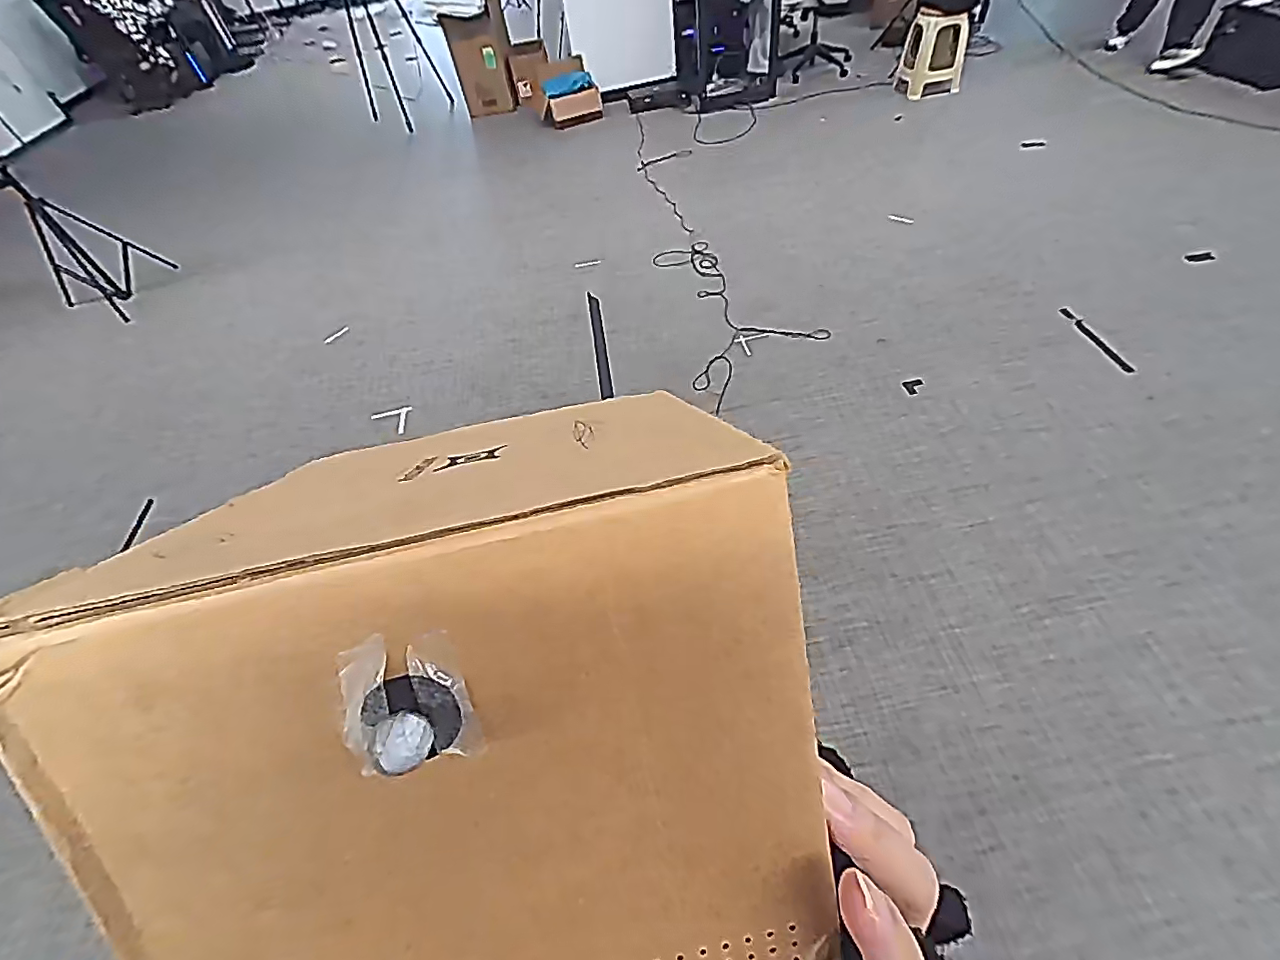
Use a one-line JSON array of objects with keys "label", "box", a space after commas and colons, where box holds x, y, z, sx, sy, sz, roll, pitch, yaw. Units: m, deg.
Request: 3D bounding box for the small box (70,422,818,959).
[{"label": "small box", "box": [-0.045, 0.083, 0.227, 0.179, 0.176, 0.168, -12, 15, -4]}]
